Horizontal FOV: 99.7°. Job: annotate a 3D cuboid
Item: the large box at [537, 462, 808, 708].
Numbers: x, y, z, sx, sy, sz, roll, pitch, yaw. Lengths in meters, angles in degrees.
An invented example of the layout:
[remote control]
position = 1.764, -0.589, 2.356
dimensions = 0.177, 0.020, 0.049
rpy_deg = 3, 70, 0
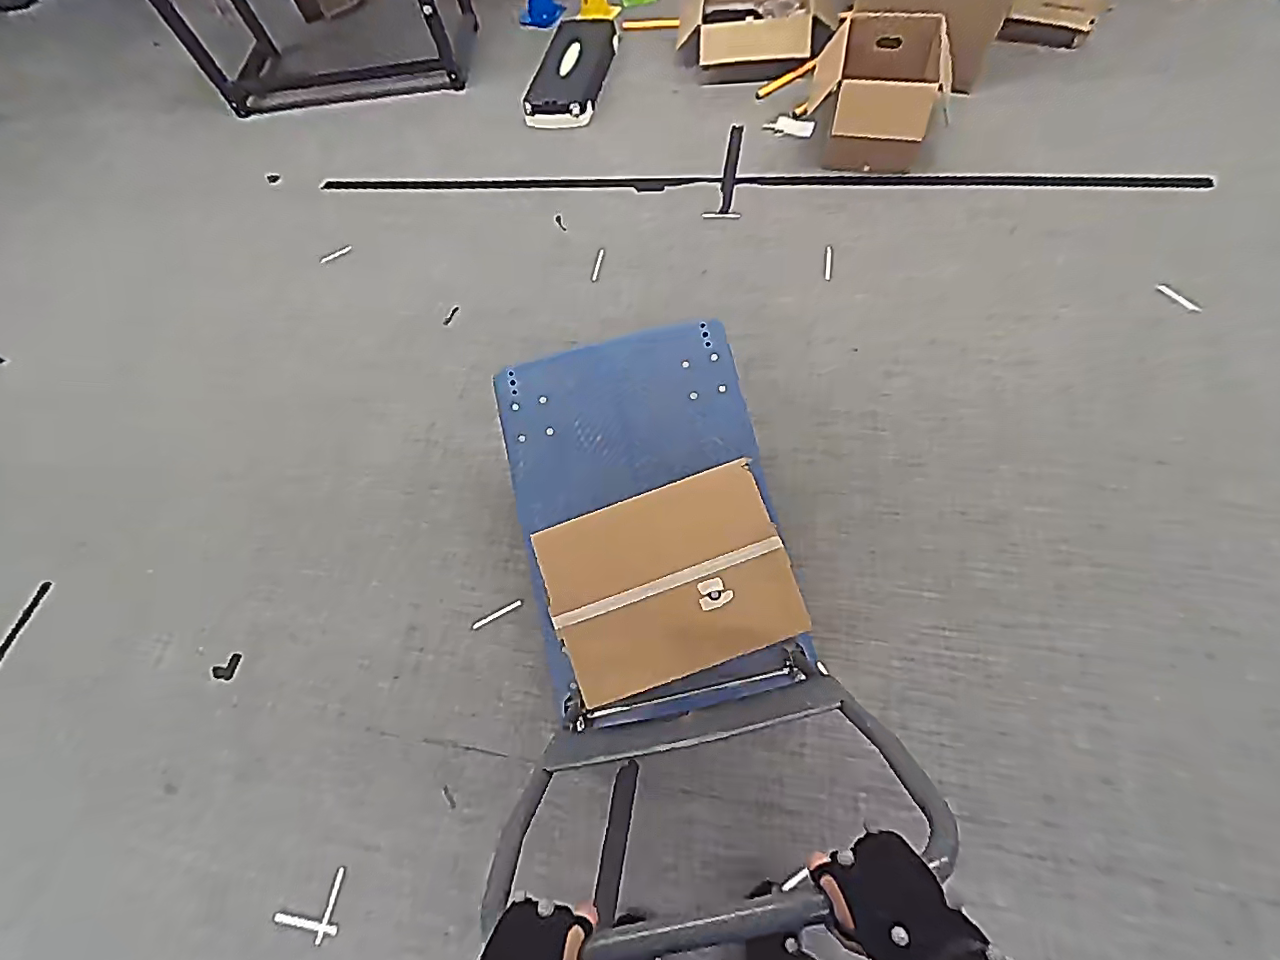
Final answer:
[large box]
position = 0.057, 0.202, 1.088
dimensions = 0.408, 0.320, 0.320
rpy_deg = -21, 82, -1
